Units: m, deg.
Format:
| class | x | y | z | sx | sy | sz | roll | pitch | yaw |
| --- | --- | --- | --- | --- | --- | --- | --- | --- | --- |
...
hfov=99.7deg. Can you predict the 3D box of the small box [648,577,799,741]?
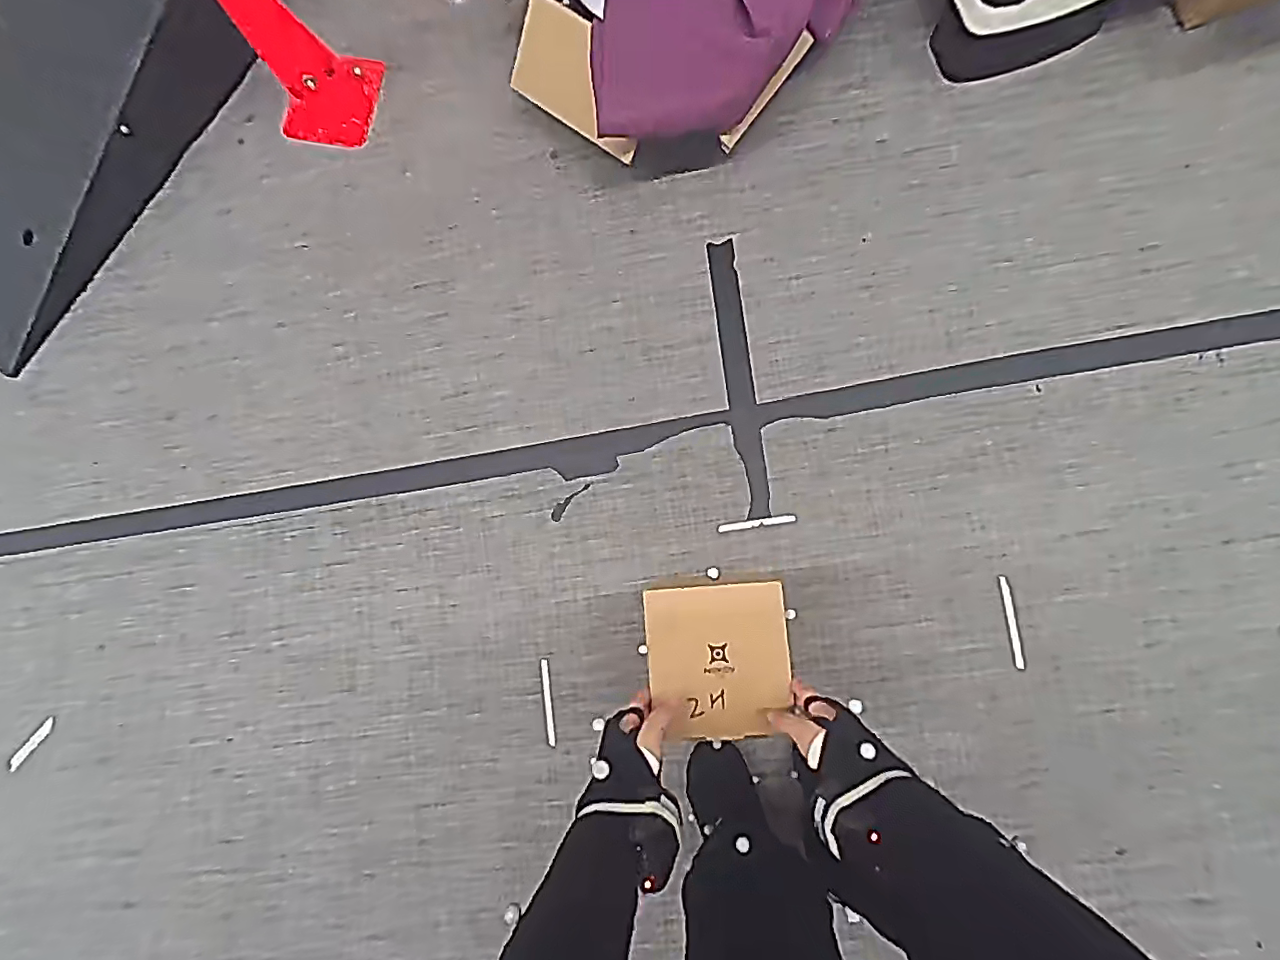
| class | x | y | z | sx | sy | sz | roll | pitch | yaw |
| --- | --- | --- | --- | --- | --- | --- | --- | --- | --- |
| small box | 0.102 | 0.219 | 0.705 | 0.168 | 0.176 | 0.179 | -5 | 83 | 7 |
